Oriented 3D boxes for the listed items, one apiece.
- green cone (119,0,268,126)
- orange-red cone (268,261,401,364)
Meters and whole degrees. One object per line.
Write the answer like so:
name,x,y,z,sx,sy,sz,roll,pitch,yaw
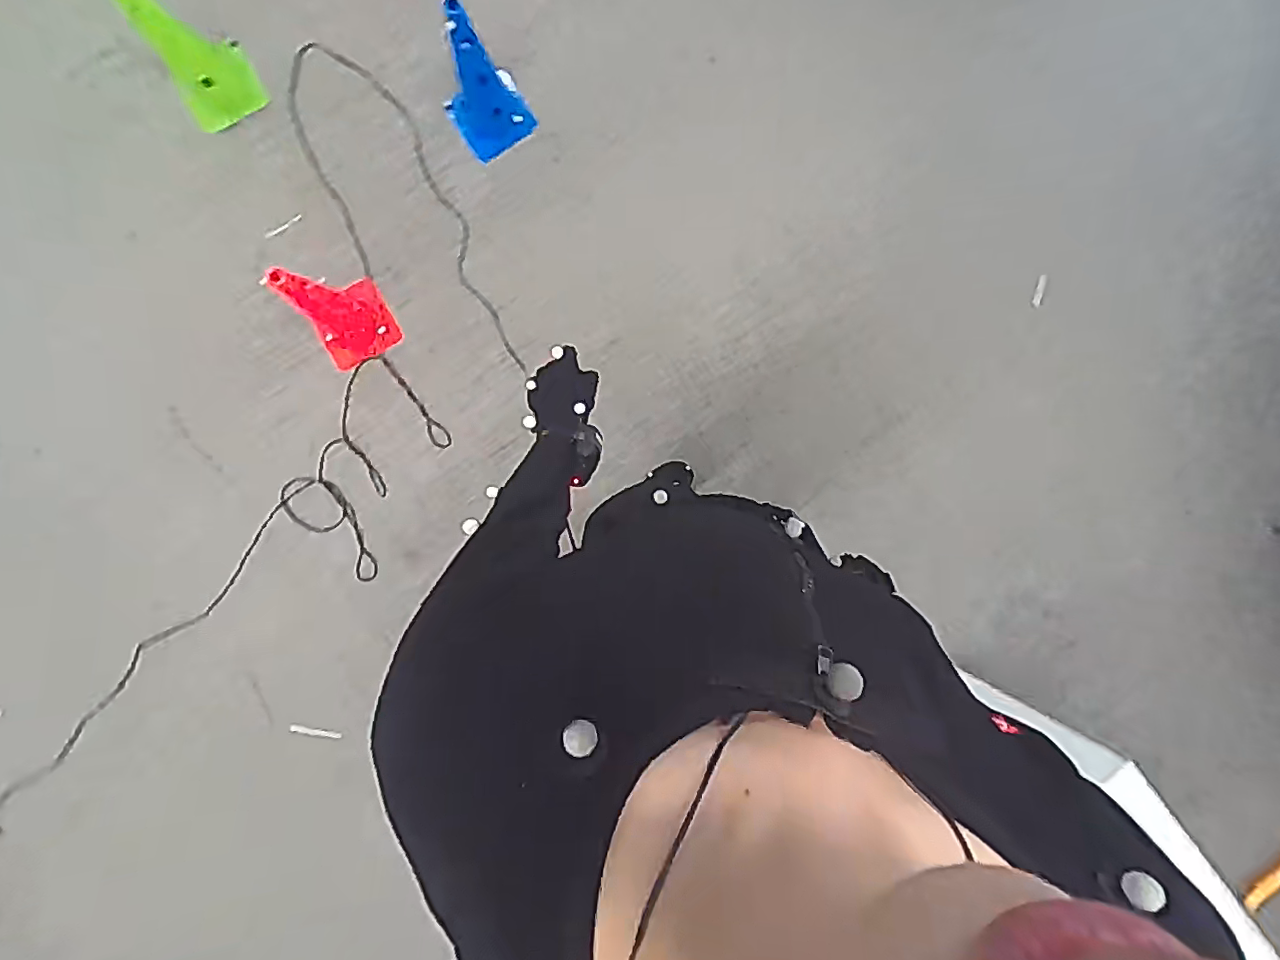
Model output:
green cone,-1.128,-1.076,1.285,0.200,0.368,0.202,-31,92,-1
orange-red cone,-0.769,-0.439,1.304,0.198,0.360,0.199,-28,90,-3
